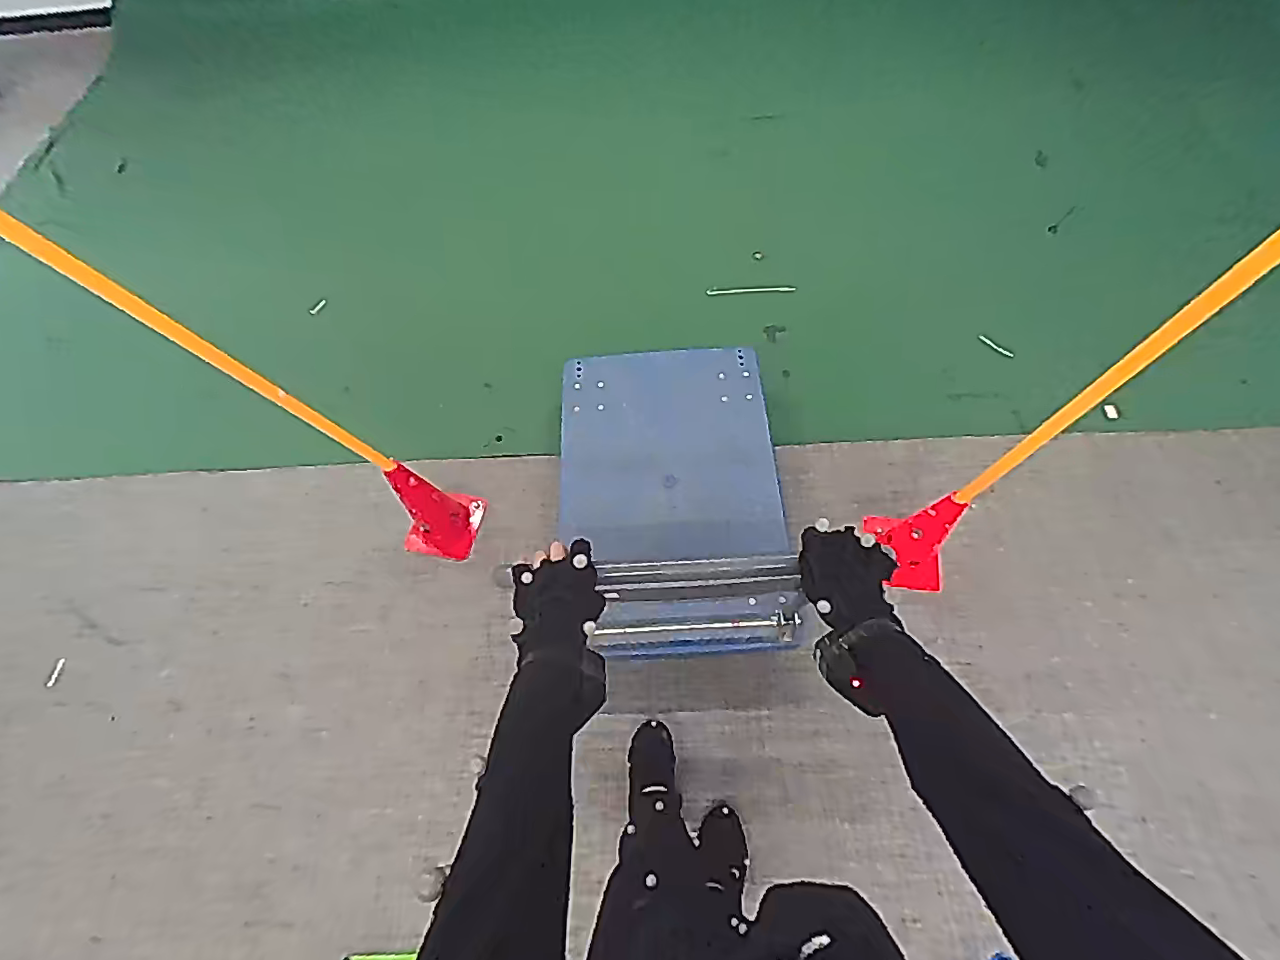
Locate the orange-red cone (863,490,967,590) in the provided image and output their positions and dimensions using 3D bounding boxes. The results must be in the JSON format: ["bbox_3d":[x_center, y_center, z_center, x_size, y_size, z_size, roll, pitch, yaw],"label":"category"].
[{"bbox_3d":[0.702,0.118,1.323,0.198,0.360,0.199,8,64,8],"label":"orange-red cone"}]
